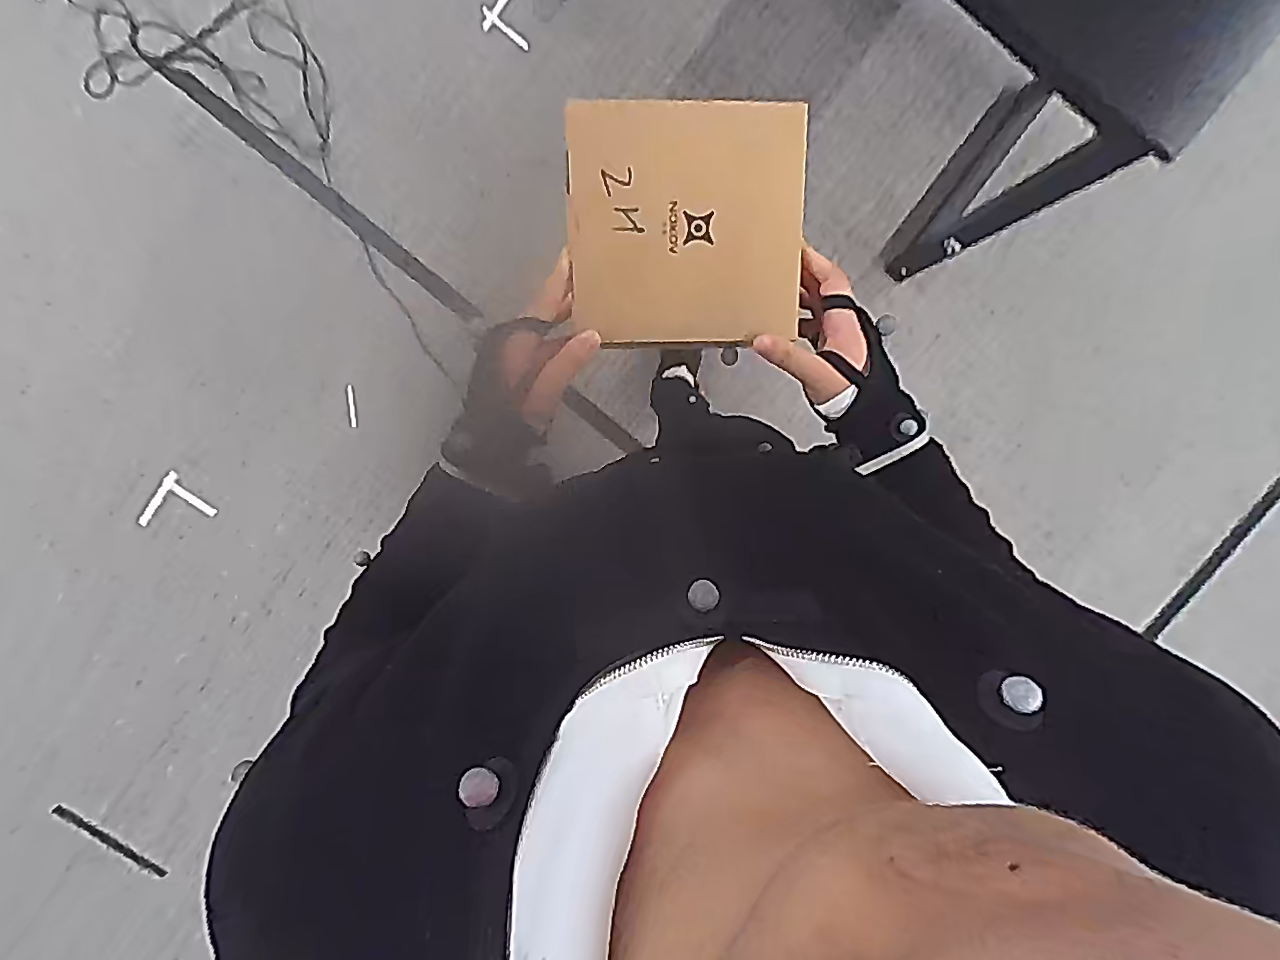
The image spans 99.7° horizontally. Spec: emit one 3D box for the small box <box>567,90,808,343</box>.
[{"bbox_3d":[0.030,-0.211,0.477,0.179,0.176,0.168,-1,102,-2],"label":"small box"}]
